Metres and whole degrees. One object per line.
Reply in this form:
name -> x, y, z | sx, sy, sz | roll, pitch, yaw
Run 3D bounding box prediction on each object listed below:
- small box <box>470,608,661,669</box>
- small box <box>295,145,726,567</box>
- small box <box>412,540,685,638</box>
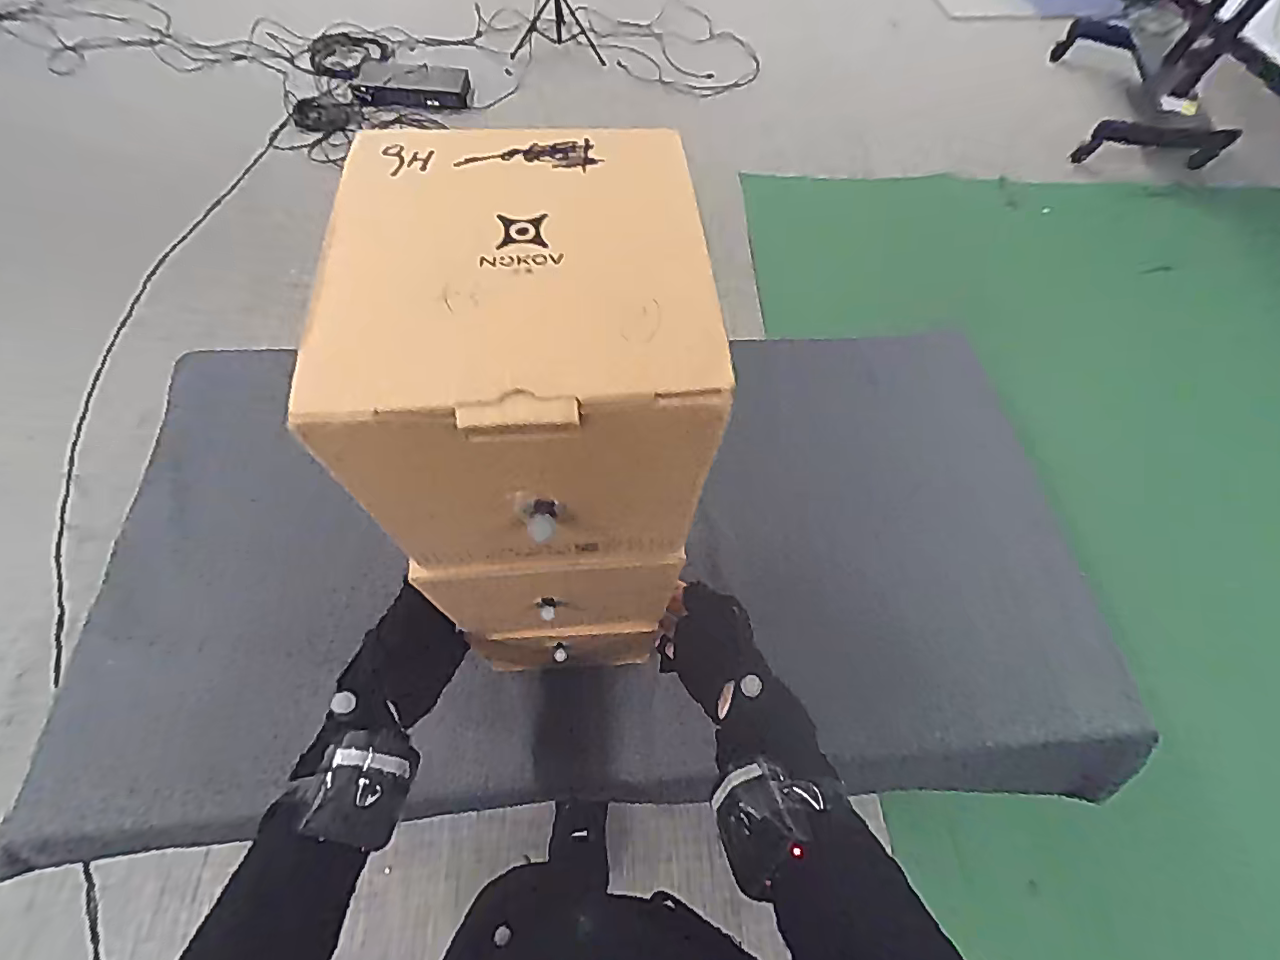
small box -> -0.077, 0.107, 0.594 | 0.179, 0.176, 0.168 | -2, 63, -7
small box -> -0.056, -0.055, 0.309 | 0.168, 0.176, 0.179 | -4, 64, -5
small box -> -0.068, 0.028, 0.450 | 0.179, 0.176, 0.168 | -4, 63, -5
